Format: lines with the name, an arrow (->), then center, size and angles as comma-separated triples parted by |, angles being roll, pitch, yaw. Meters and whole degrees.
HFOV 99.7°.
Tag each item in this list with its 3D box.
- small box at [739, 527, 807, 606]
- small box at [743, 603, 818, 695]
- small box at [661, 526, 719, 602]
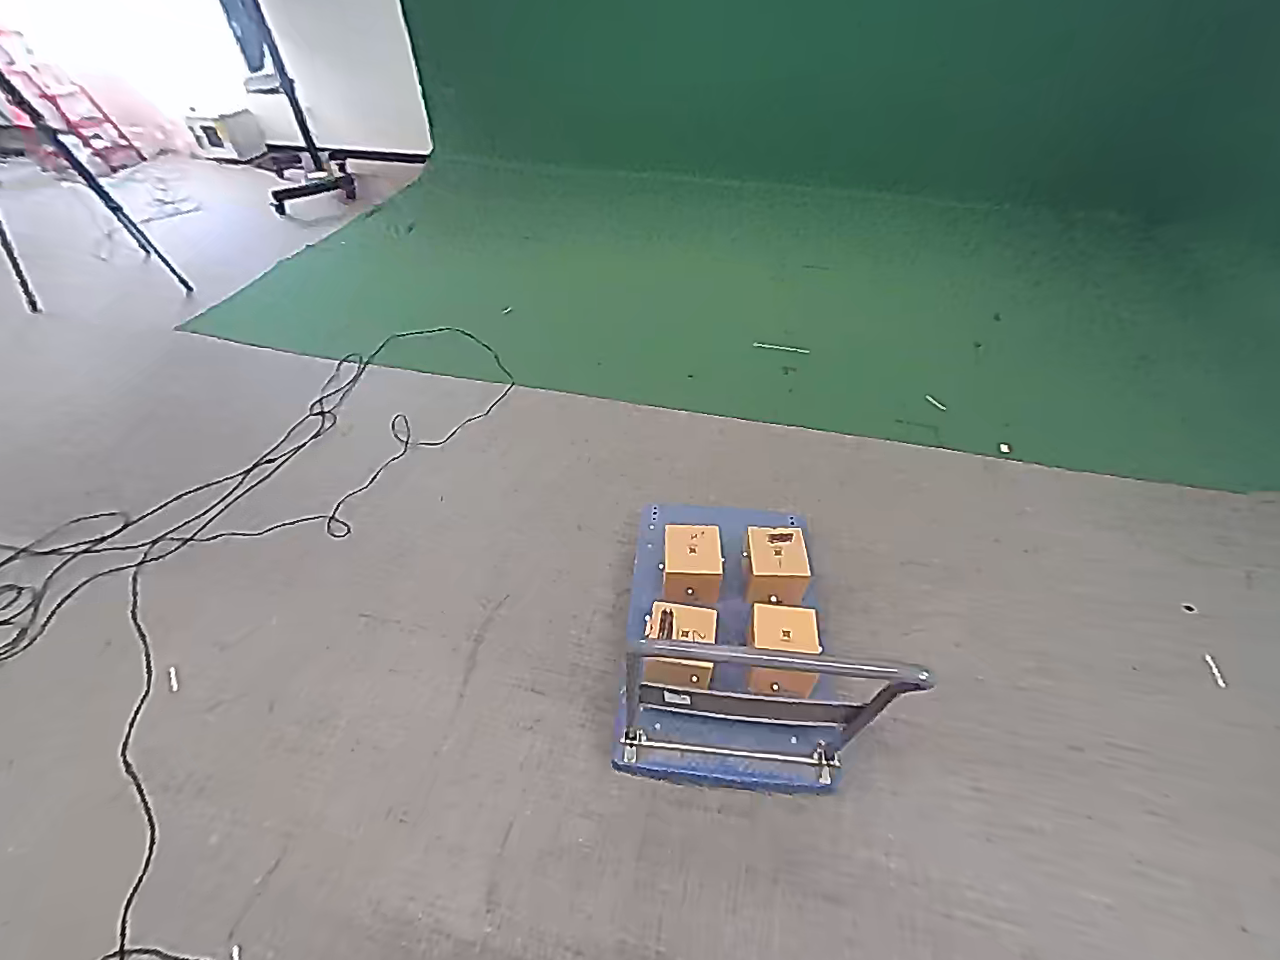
small box -> 0.404, 0.267, 1.668 | 0.168, 0.176, 0.179 | 1, 48, 2
small box -> 0.378, 0.464, 1.485 | 0.168, 0.176, 0.179 | 5, 47, 4
small box -> 0.152, 0.262, 1.673 | 0.168, 0.176, 0.179 | 2, 47, 1
